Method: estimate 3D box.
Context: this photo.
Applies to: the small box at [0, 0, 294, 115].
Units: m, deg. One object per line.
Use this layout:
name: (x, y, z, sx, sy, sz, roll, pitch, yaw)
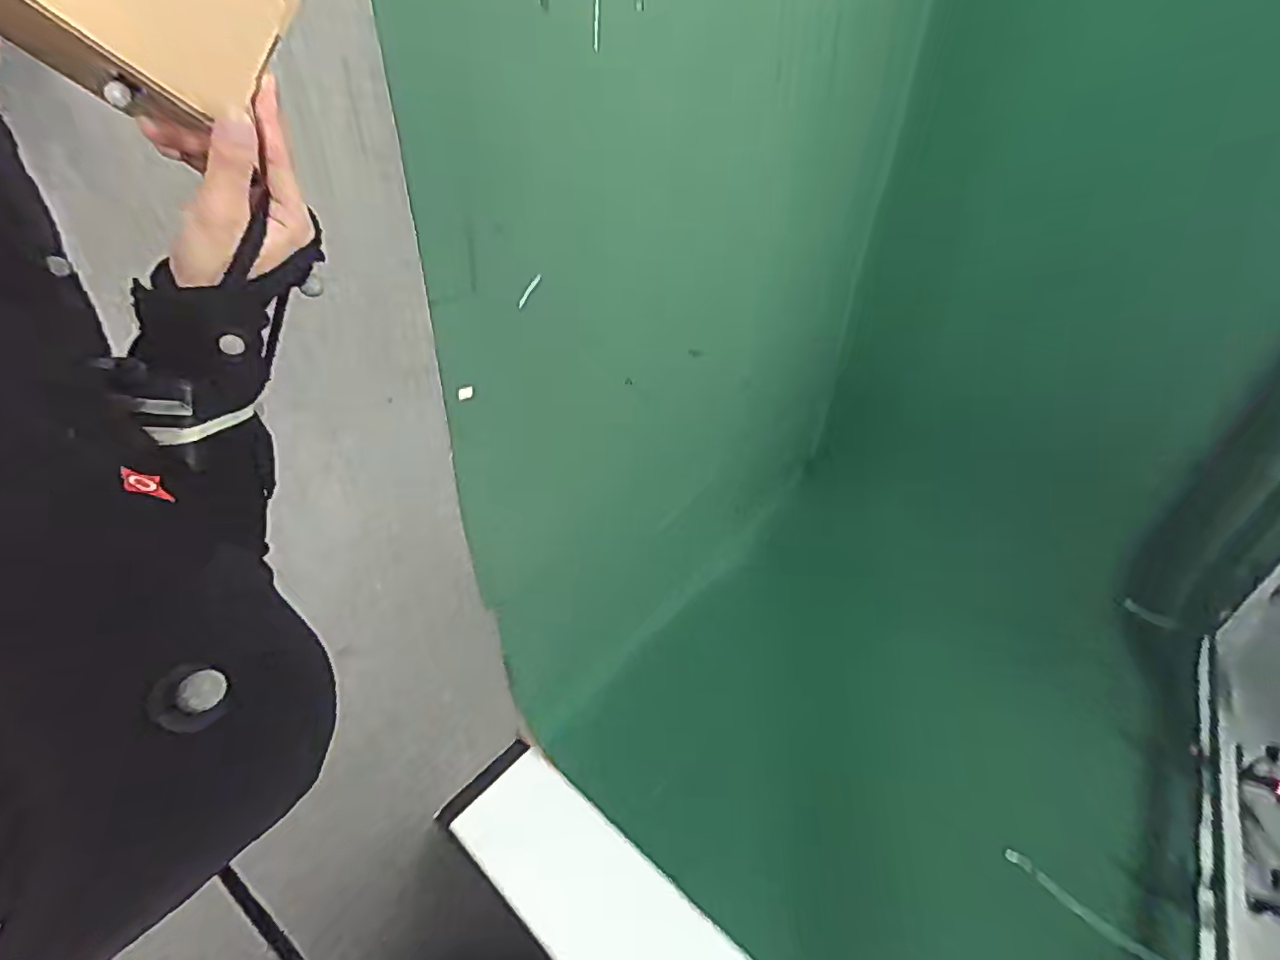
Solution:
small box: (-0.284, -0.311, 0.257, 0.179, 0.176, 0.168, 22, 94, -59)
